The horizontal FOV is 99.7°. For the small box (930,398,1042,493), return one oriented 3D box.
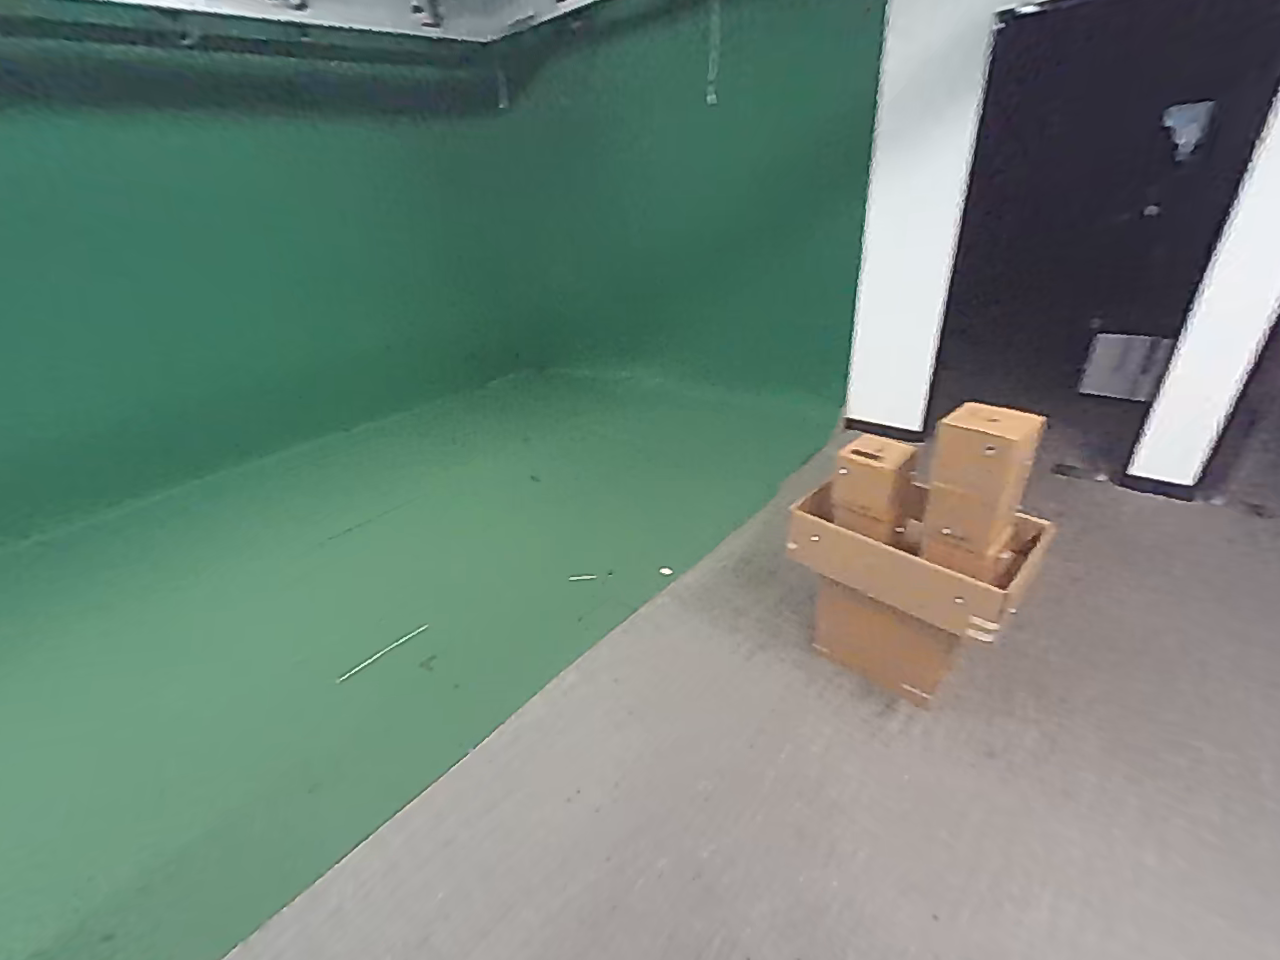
[{"bbox_3d":[0.859,-0.085,1.353,0.168,0.176,0.179,-27,33,-31],"label":"small box"}]

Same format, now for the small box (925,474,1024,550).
[{"bbox_3d":[0.880,0.056,1.436,0.179,0.176,0.168,-29,35,-32],"label":"small box"}]
